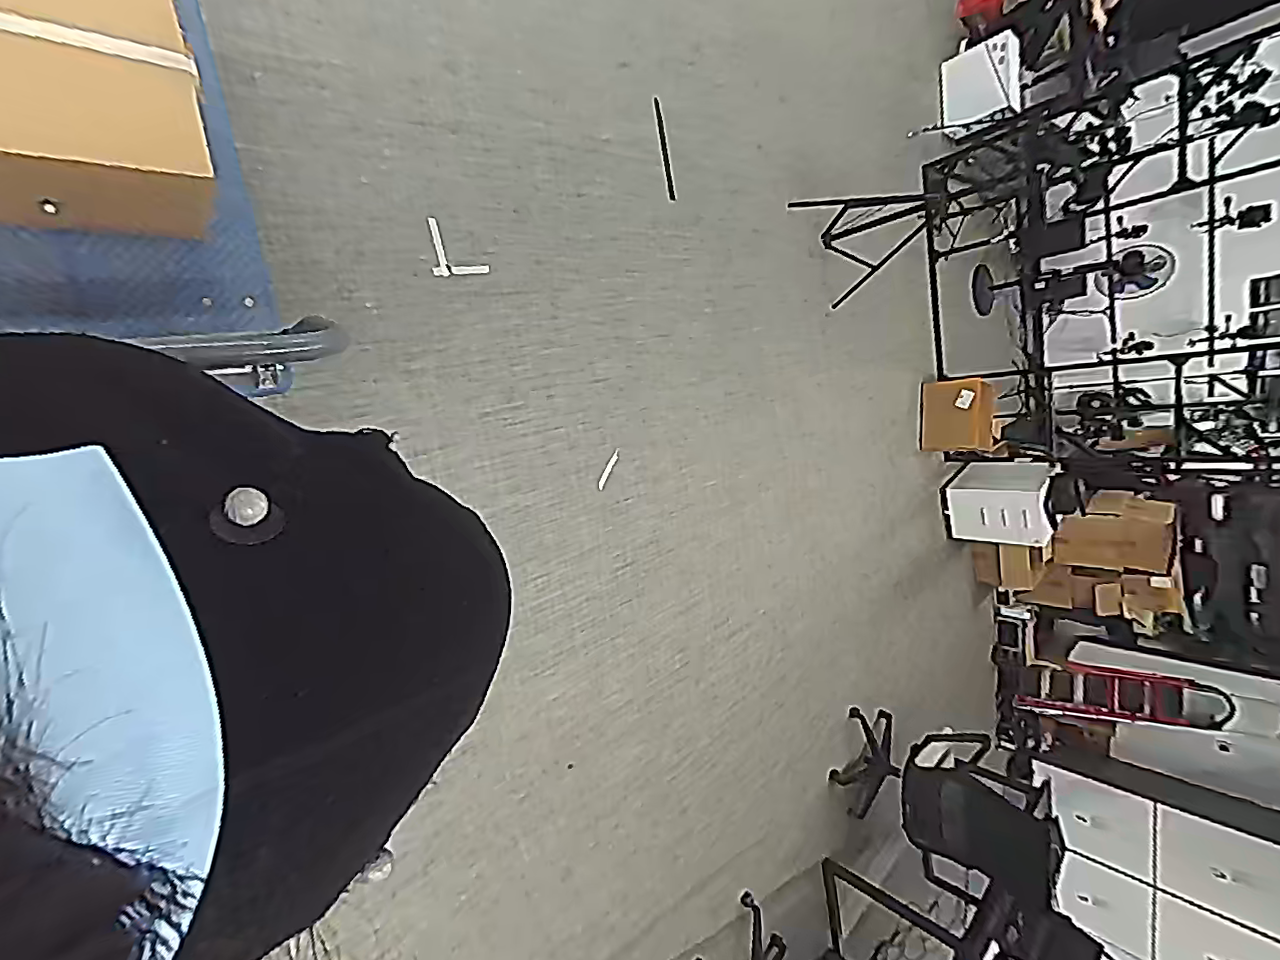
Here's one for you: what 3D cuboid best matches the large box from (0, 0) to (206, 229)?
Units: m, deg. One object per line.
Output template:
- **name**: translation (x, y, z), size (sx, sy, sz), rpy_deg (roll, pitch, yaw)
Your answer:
- **large box**: translation (-0.928, -0.585, 0.792), size (0.408, 0.320, 0.320), rpy_deg (-15, 100, -39)
